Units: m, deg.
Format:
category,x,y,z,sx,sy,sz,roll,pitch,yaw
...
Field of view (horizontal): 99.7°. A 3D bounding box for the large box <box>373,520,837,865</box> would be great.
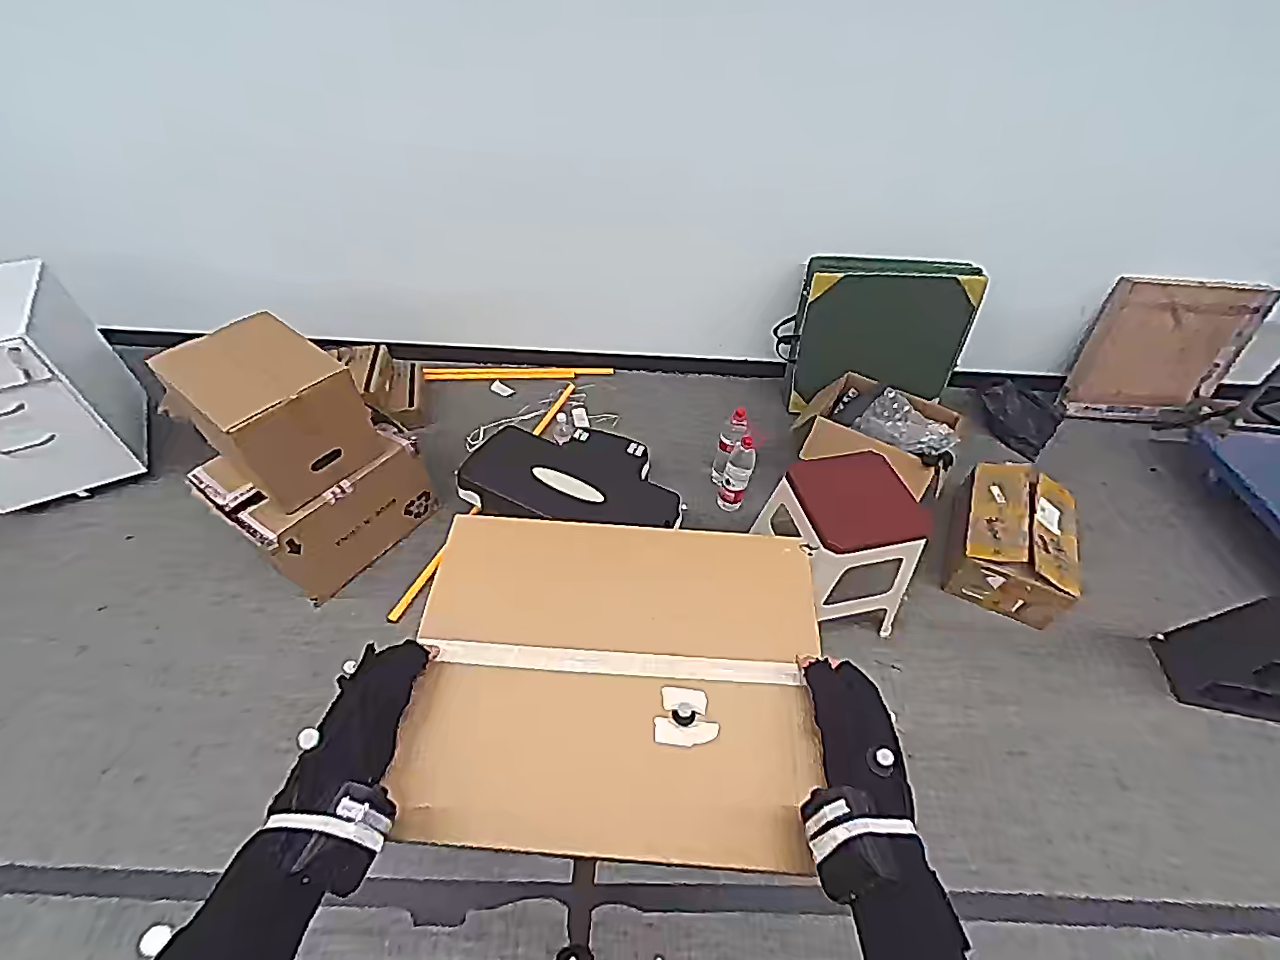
category,x,y,z,sx,sy,sz,roll,pitch,yaw
large box,-0.027,0.268,0.661,0.408,0.320,0.320,4,55,1
